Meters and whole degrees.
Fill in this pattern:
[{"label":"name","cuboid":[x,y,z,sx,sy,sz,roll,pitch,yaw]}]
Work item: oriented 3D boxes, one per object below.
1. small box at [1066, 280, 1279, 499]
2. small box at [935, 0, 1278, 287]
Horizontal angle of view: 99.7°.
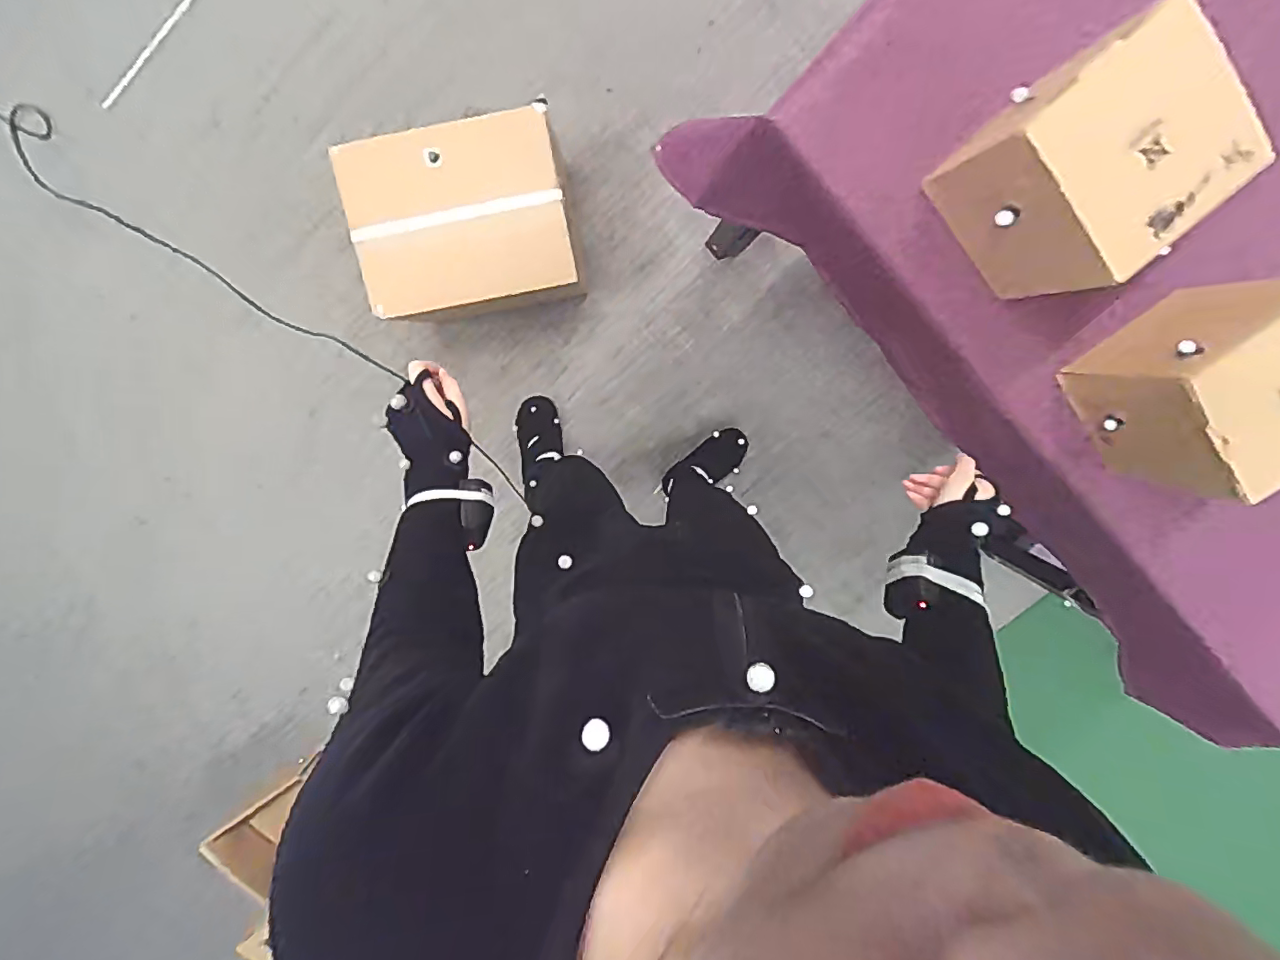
[{"label":"small box","cuboid":[0.651,-0.112,0.613,0.179,0.176,0.168,-36,102,8]},{"label":"small box","cuboid":[0.449,-0.321,0.553,0.168,0.176,0.179,-41,101,9]}]
